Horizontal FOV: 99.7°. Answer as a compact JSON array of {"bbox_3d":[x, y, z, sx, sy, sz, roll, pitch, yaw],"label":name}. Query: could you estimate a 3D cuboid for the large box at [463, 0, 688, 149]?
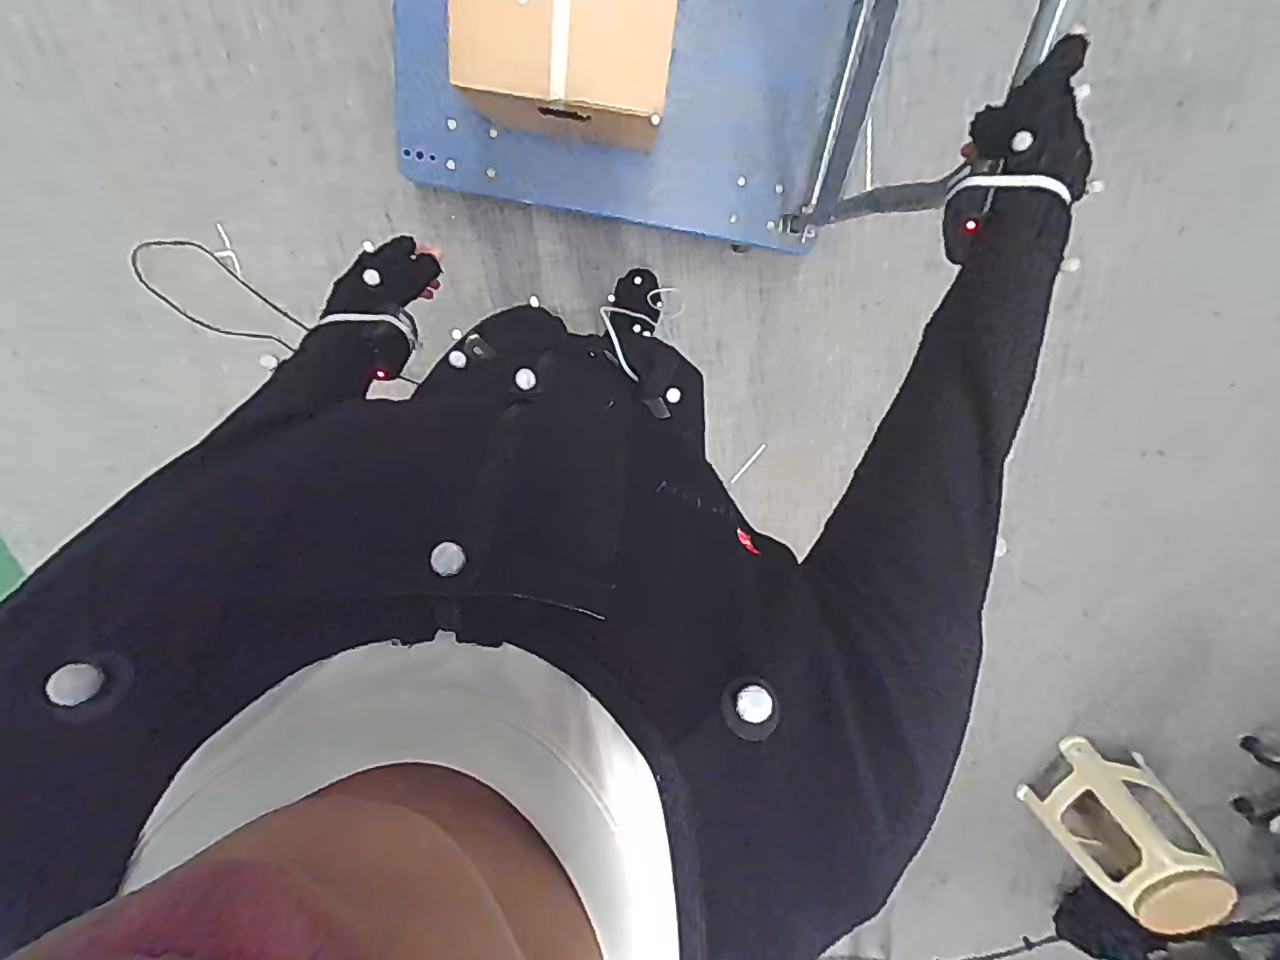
[{"bbox_3d":[-0.086,-0.792,0.854,0.320,0.320,0.408,6,114,-3],"label":"large box"}]
